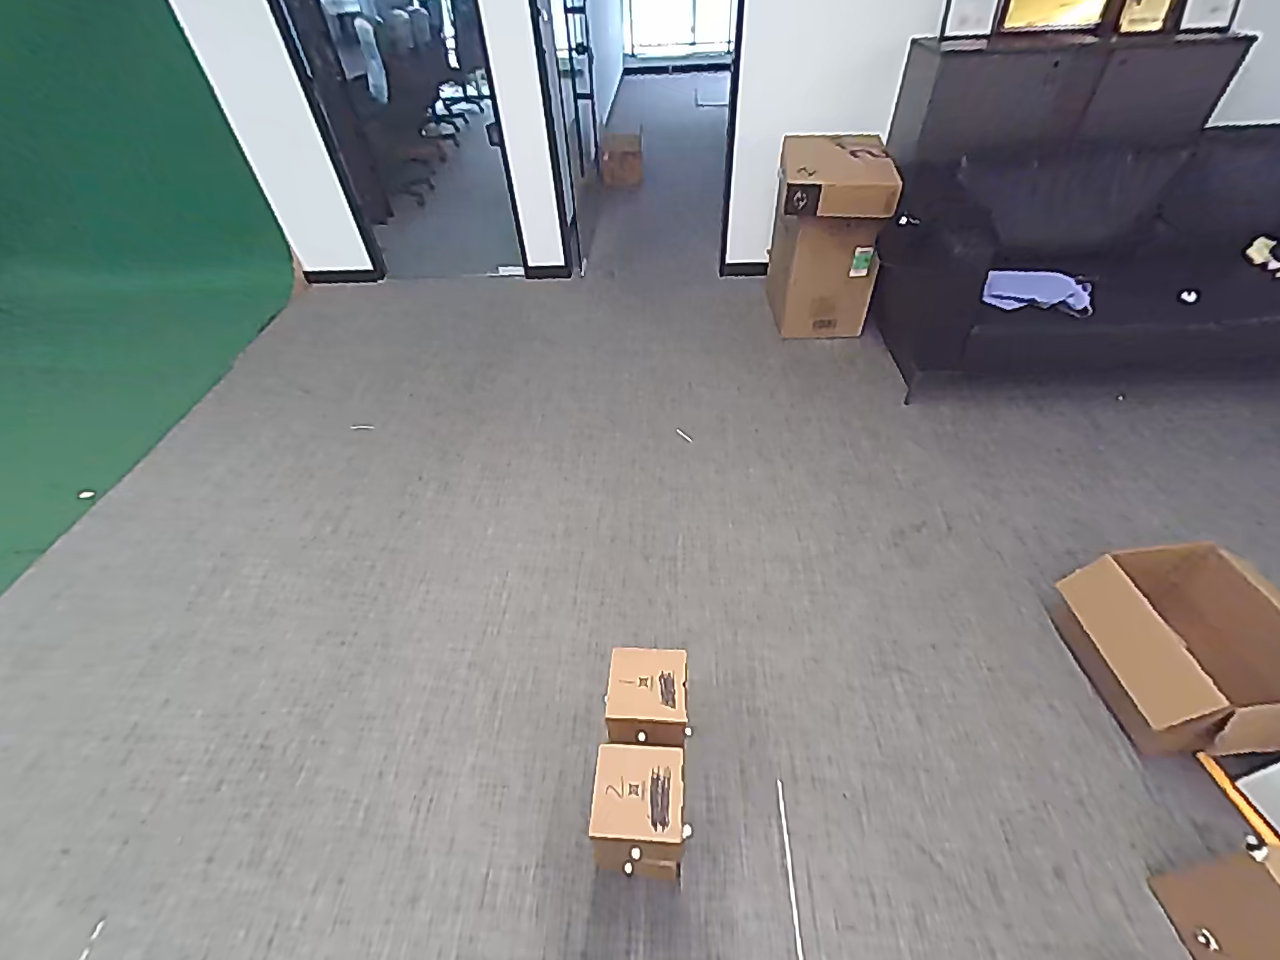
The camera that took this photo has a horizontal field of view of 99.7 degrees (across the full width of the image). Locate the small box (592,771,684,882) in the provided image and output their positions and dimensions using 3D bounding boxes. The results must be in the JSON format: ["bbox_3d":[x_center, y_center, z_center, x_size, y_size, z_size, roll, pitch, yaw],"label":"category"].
[{"bbox_3d":[0.003,0.777,1.209,0.179,0.176,0.168,5,46,8],"label":"small box"}]
